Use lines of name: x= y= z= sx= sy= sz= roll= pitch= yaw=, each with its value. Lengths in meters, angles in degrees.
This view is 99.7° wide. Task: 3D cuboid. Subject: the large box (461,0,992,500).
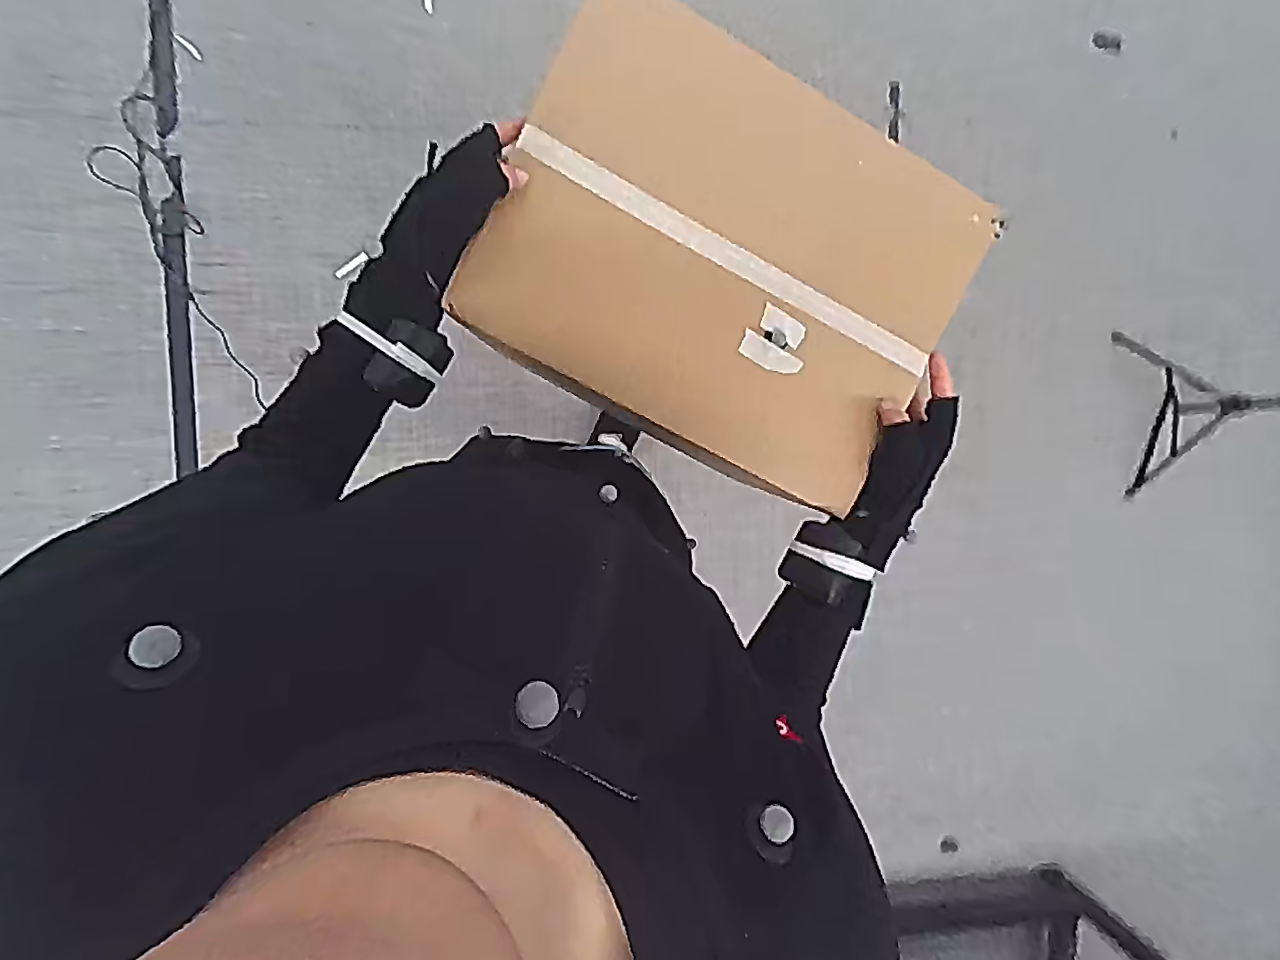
large box: x=0.070 y=-0.214 z=0.629 sx=0.408 sy=0.320 sz=0.320 roll=27 pitch=94 yaw=-8
